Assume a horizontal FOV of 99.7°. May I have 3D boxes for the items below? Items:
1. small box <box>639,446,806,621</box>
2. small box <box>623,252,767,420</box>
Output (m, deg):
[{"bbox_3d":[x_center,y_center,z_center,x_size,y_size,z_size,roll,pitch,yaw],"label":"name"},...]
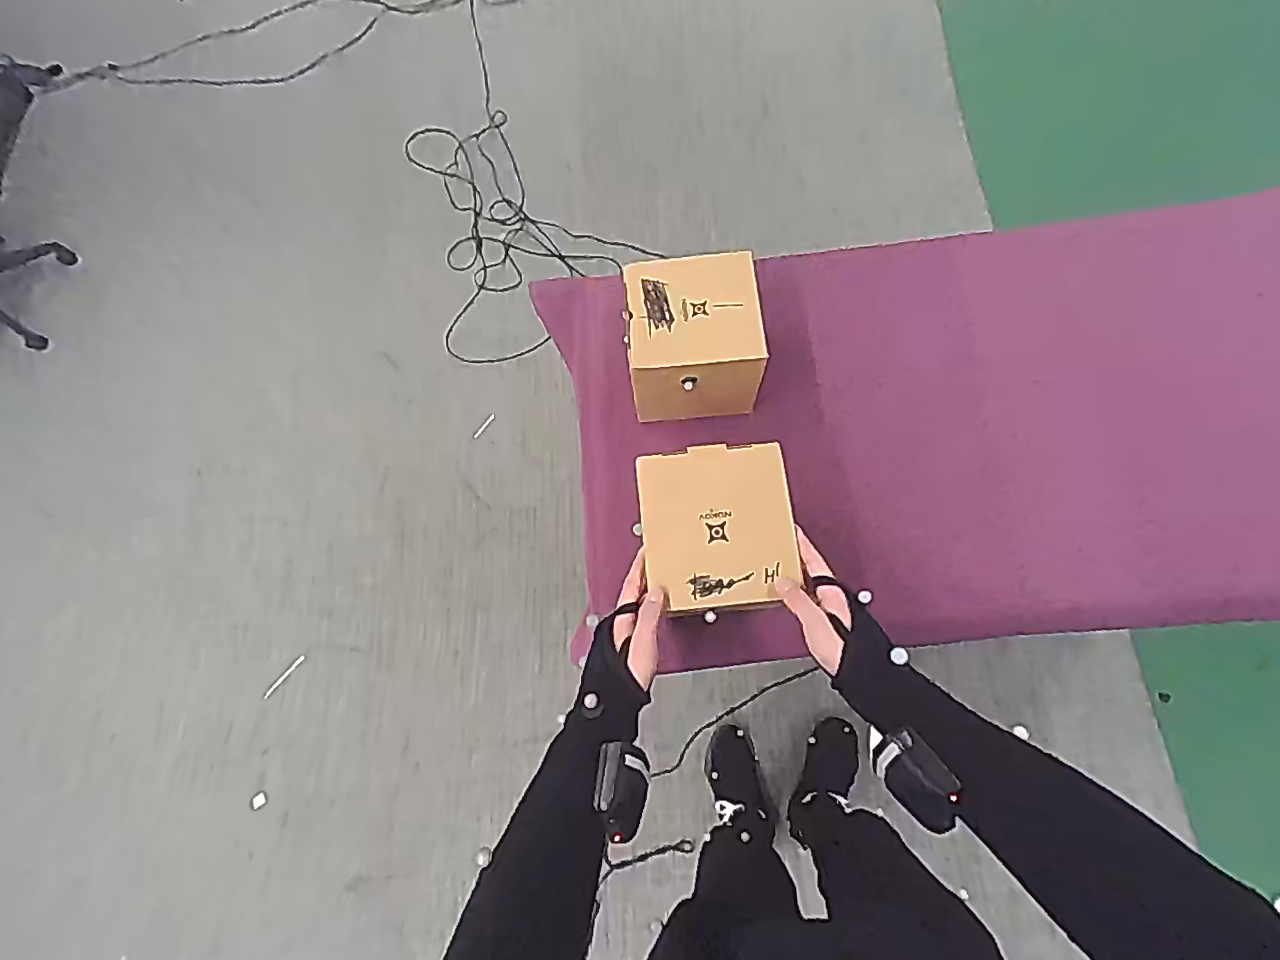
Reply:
[{"bbox_3d":[0.088,0.074,0.659,0.168,0.176,0.179,-6,74,2],"label":"small box"},{"bbox_3d":[0.074,-0.194,0.773,0.179,0.176,0.168,-5,73,3],"label":"small box"}]
